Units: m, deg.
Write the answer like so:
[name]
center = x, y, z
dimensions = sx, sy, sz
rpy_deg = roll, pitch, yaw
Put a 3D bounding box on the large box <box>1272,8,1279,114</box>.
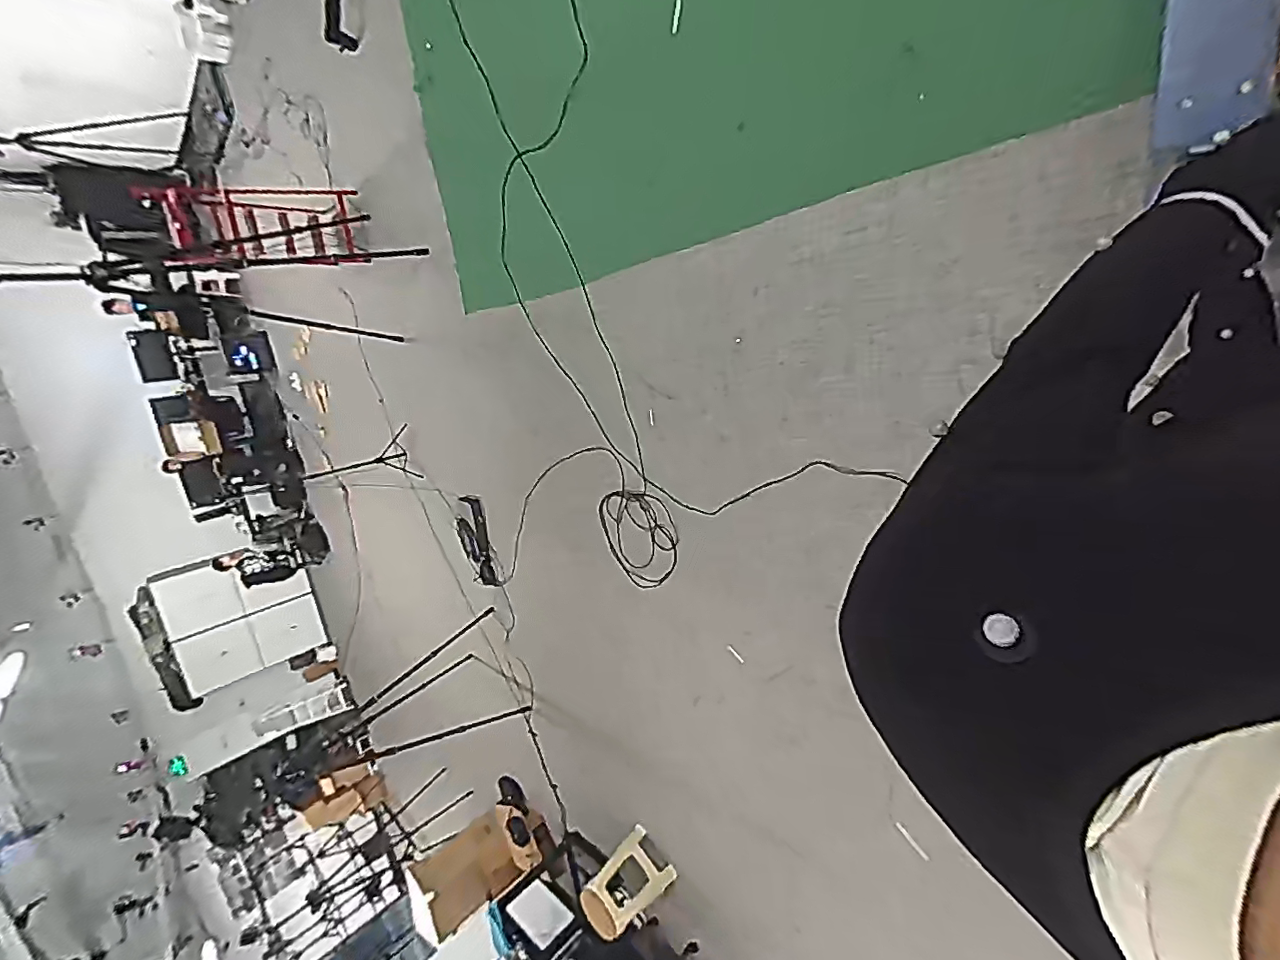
[large box]
center = 1.005, -0.742, 0.640
dimensions = 0.320, 0.320, 0.408
rpy_deg = 6, 109, 45
